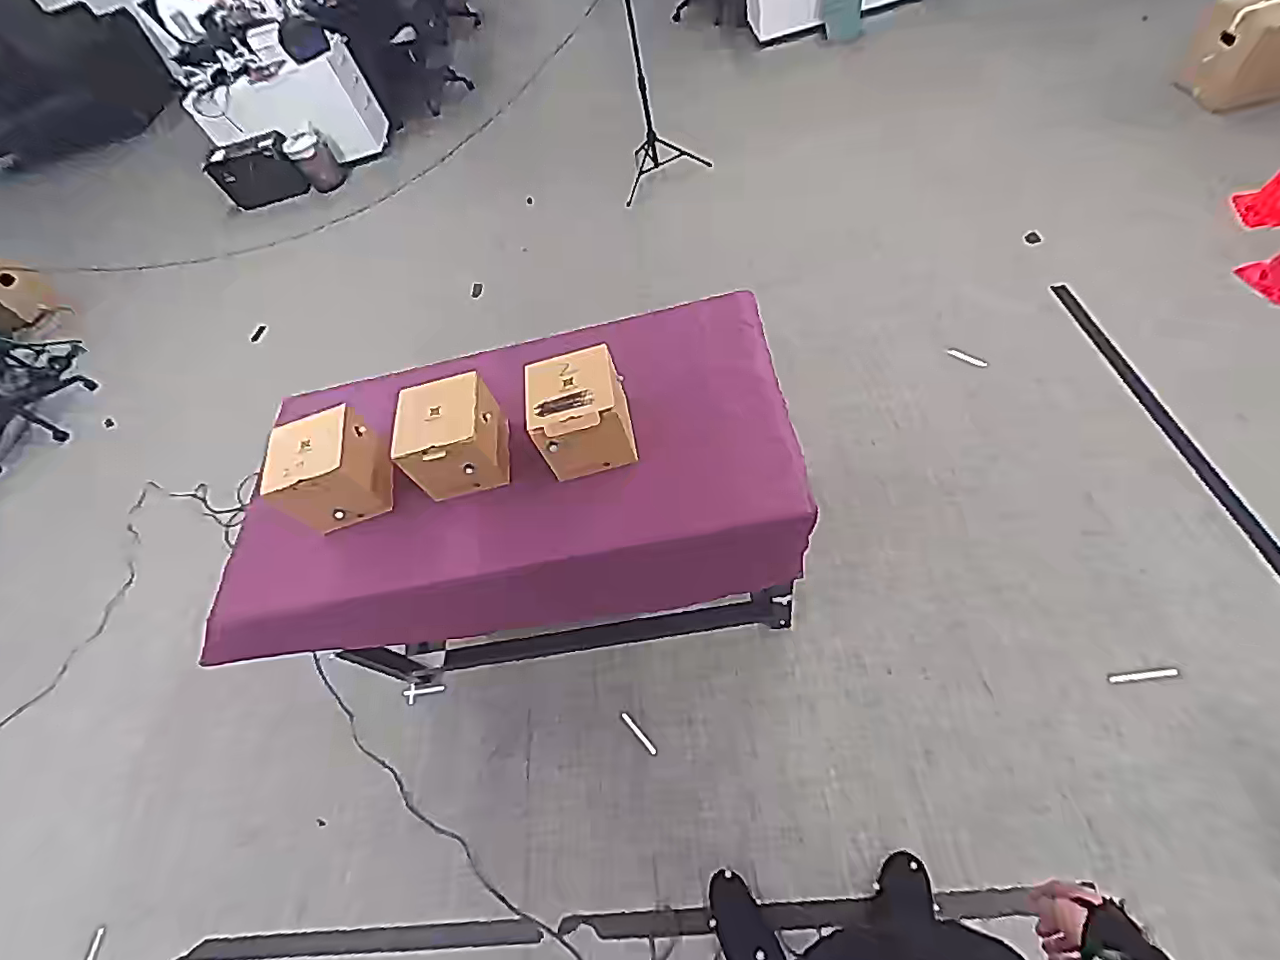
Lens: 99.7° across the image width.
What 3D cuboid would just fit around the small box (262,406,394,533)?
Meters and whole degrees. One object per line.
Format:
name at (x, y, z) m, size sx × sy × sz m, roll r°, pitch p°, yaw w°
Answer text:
small box at (-0.633, -0.018, 1.121) m, size 0.168 × 0.176 × 0.179 m, roll -19°, pitch 56°, yaw 3°

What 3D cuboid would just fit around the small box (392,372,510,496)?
small box at (-0.372, -0.084, 1.097) m, size 0.168 × 0.176 × 0.179 m, roll -13°, pitch 56°, yaw 6°
